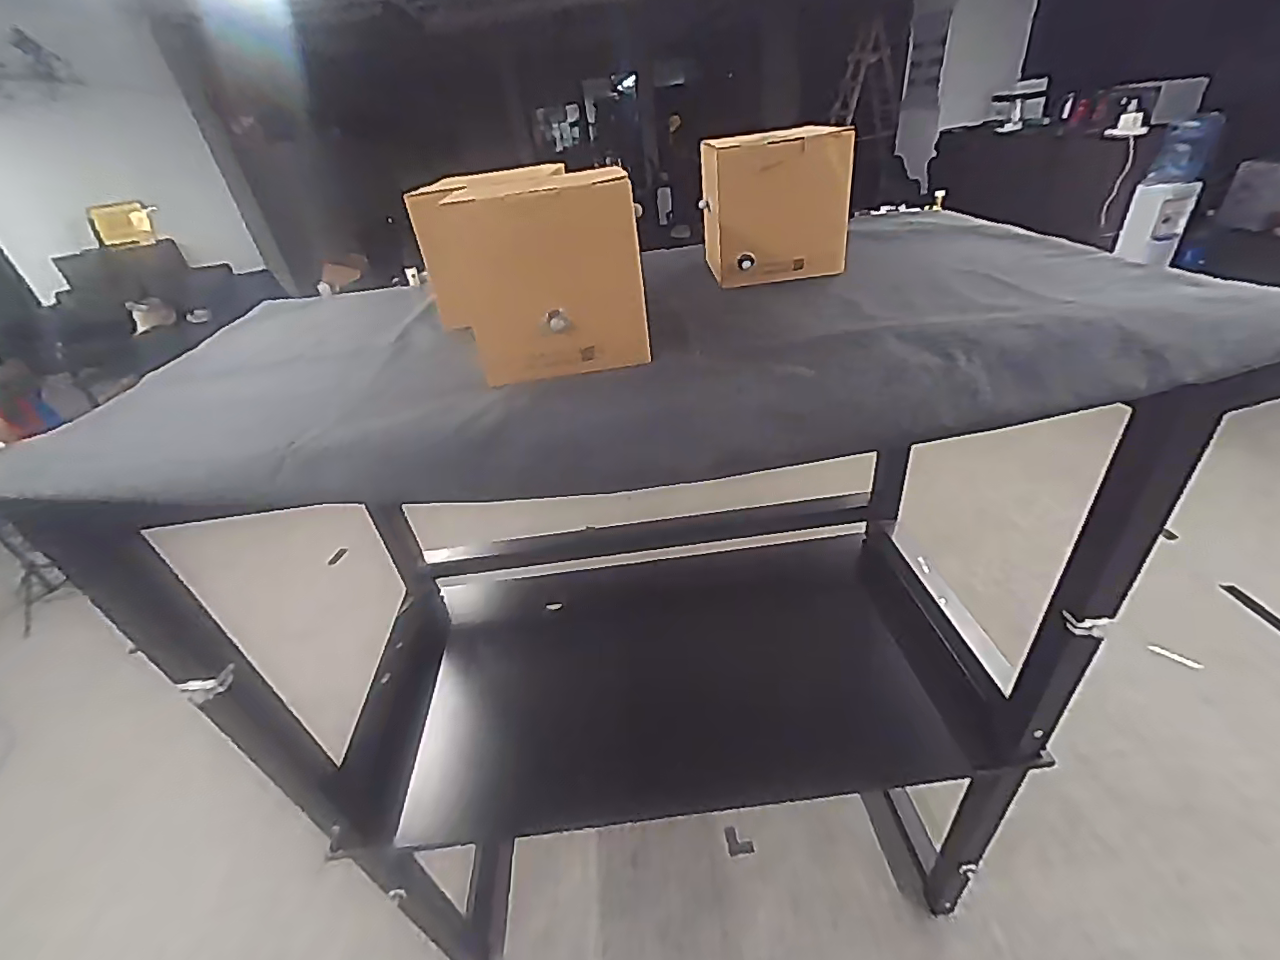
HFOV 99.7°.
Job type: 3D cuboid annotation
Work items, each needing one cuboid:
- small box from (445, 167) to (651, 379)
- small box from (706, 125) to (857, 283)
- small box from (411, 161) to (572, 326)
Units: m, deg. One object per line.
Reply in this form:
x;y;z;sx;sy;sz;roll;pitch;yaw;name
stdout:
-0.083;-0.220;0.568;0.168;0.176;0.179;-8;34;-1;small box
0.186;-0.381;0.753;0.168;0.176;0.179;-6;34;3;small box
-0.176;-0.324;0.742;0.179;0.176;0.168;-5;35;5;small box
